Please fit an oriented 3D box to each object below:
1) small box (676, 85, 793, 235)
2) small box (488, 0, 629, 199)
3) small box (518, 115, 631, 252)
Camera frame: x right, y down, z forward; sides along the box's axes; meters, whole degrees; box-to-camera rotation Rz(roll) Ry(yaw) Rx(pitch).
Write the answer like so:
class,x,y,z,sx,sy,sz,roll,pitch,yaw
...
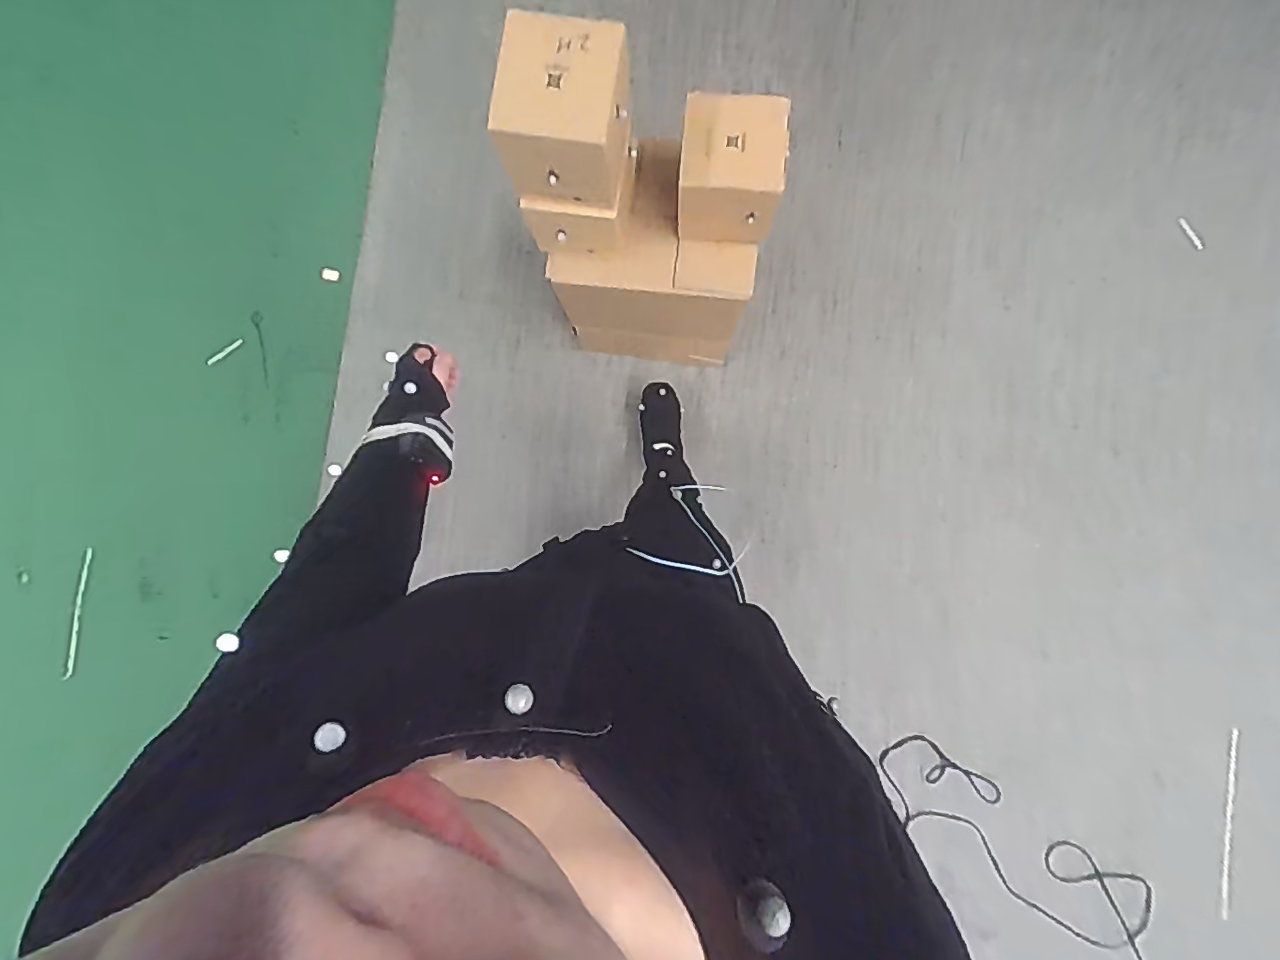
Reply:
class,x,y,z,sx,sy,sz,roll,pitch,yaw
small box,0.160,-0.560,0.967,0.179,0.176,0.168,6,87,4
small box,-0.110,-0.554,0.810,0.168,0.176,0.179,10,89,1
small box,-0.108,-0.537,0.974,0.168,0.176,0.179,8,89,1
